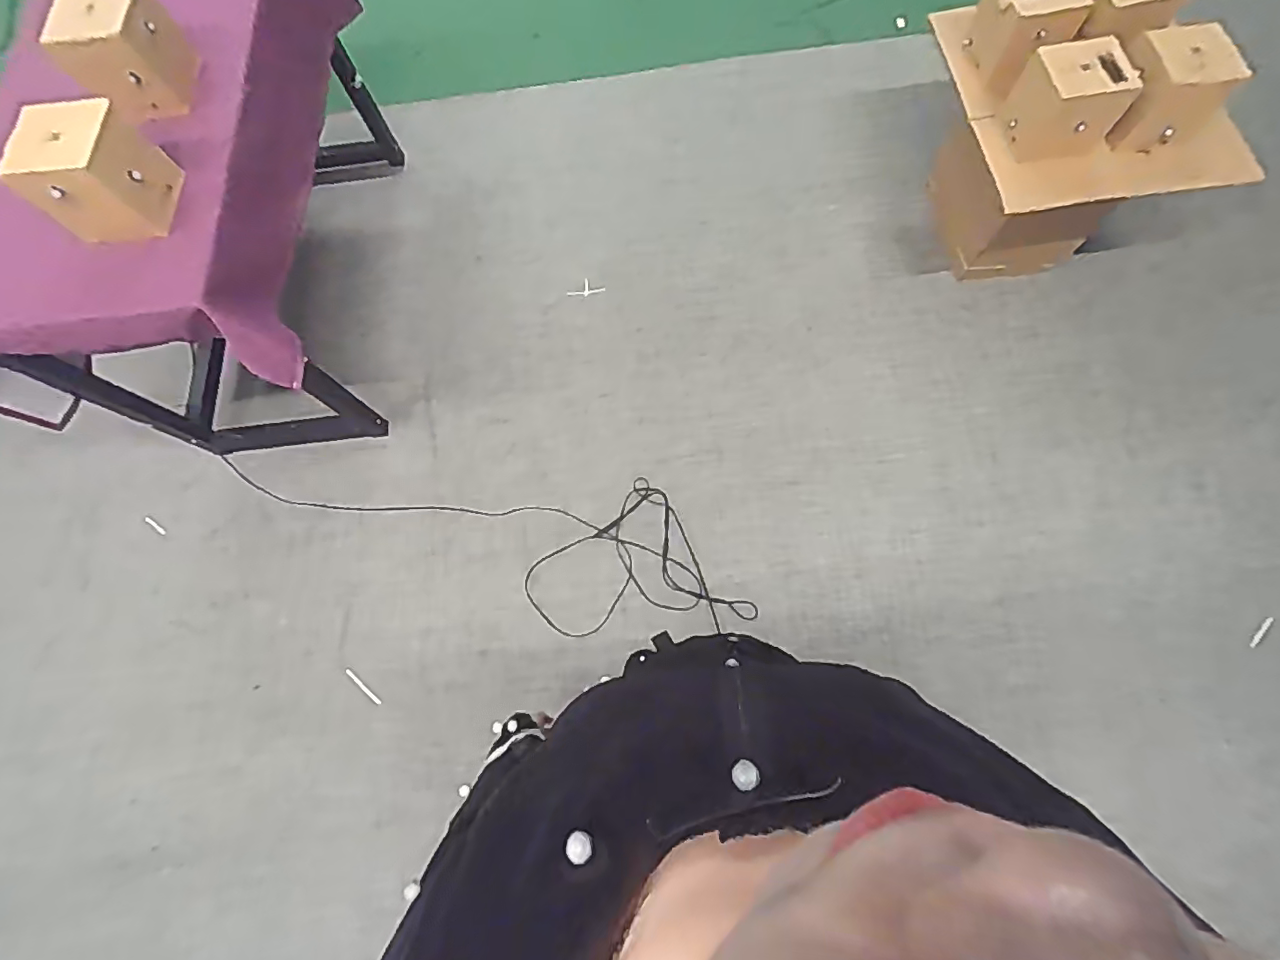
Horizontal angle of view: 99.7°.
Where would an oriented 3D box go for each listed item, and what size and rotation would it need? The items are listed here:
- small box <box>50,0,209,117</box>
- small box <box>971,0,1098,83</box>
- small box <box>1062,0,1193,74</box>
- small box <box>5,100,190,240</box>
[{"bbox_3d":[-1.072,-0.911,1.154,0.168,0.176,0.179,-4,72,3],"label":"small box"},{"bbox_3d":[0.954,-1.123,1.332,0.179,0.176,0.168,-11,72,0],"label":"small box"},{"bbox_3d":[1.169,-1.138,1.320,0.179,0.176,0.168,-7,71,0],"label":"small box"},{"bbox_3d":[-1.037,-0.594,1.053,0.179,0.176,0.168,-2,72,5],"label":"small box"}]
